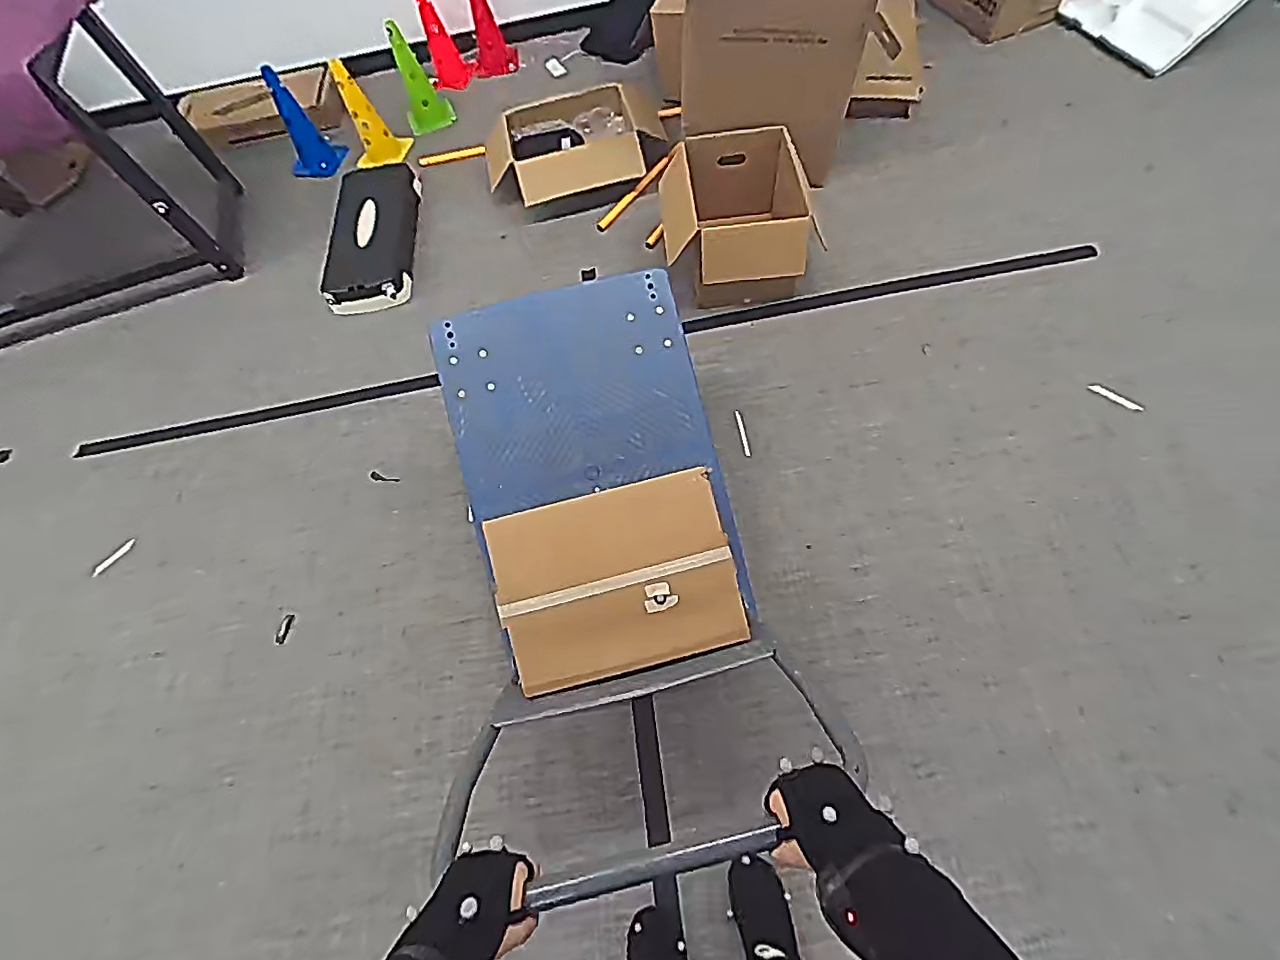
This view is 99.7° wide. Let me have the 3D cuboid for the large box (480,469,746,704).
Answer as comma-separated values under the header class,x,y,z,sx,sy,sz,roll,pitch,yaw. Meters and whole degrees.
class,x,y,z,sx,sy,sz,roll,pitch,yaw
large box,-0.052,0.190,1.075,0.408,0.320,0.320,-15,88,-3
